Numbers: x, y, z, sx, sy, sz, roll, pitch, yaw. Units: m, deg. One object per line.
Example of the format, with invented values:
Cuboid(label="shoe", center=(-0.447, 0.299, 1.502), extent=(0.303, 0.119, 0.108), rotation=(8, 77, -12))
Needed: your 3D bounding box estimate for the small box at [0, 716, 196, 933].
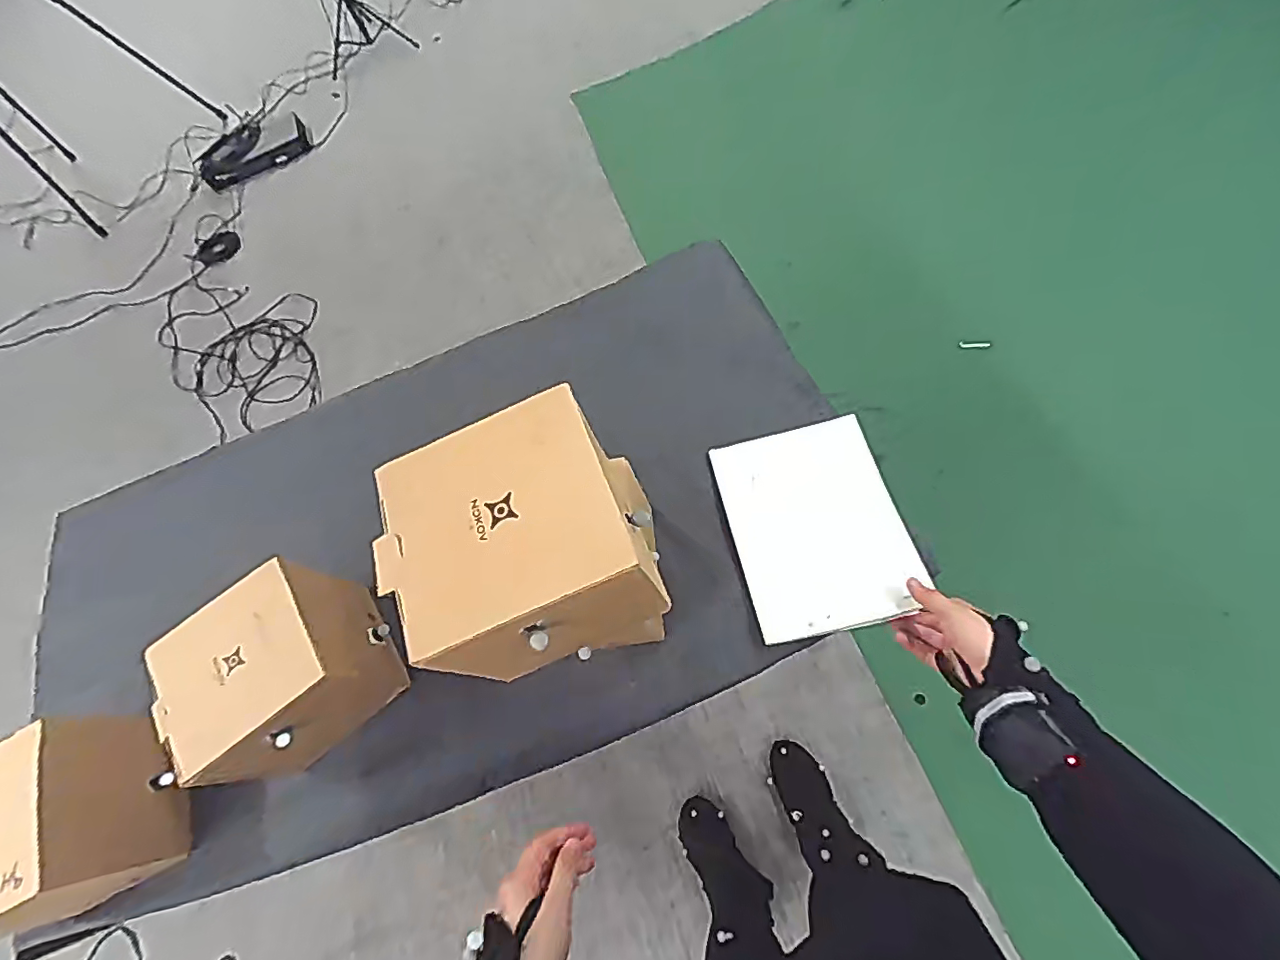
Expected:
Cuboid(label="small box", center=(-0.674, 0.401, 0.638), extent=(0.168, 0.176, 0.179), rotation=(-28, 66, -1))

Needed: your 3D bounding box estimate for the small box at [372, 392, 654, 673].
Cuboid(label="small box", center=(-0.097, 0.058, 0.480), extent=(0.179, 0.176, 0.168), rotation=(-25, 65, 1))

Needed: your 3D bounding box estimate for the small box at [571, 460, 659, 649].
Cuboid(label="small box", center=(-0.077, 0.098, 0.638), extent=(0.168, 0.176, 0.179), rotation=(-10, 67, 8))

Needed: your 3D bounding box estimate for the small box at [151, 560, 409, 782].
Cuboid(label="small box", center=(-0.424, 0.230, 0.658), extent=(0.179, 0.176, 0.168), rotation=(-38, 66, -6))
